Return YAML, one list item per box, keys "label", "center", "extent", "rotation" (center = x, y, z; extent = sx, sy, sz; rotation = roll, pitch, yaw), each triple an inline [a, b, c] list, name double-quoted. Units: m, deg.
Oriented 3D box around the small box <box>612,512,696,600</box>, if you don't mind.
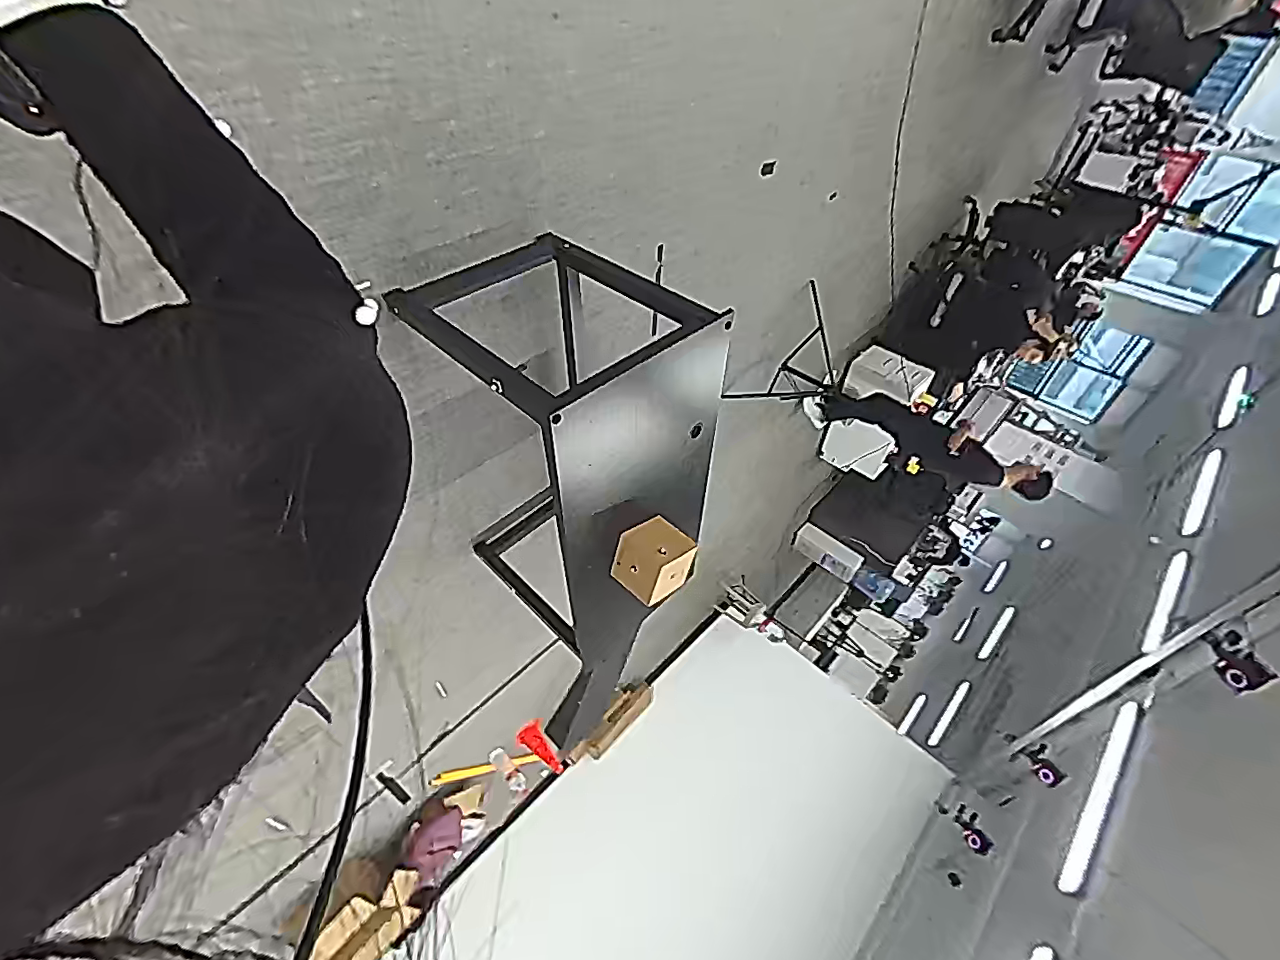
- label: "small box"
  center: [0.037, 0.226, 1.646]
  extent: [0.179, 0.176, 0.168]
  rotation: [-23, 139, -45]
